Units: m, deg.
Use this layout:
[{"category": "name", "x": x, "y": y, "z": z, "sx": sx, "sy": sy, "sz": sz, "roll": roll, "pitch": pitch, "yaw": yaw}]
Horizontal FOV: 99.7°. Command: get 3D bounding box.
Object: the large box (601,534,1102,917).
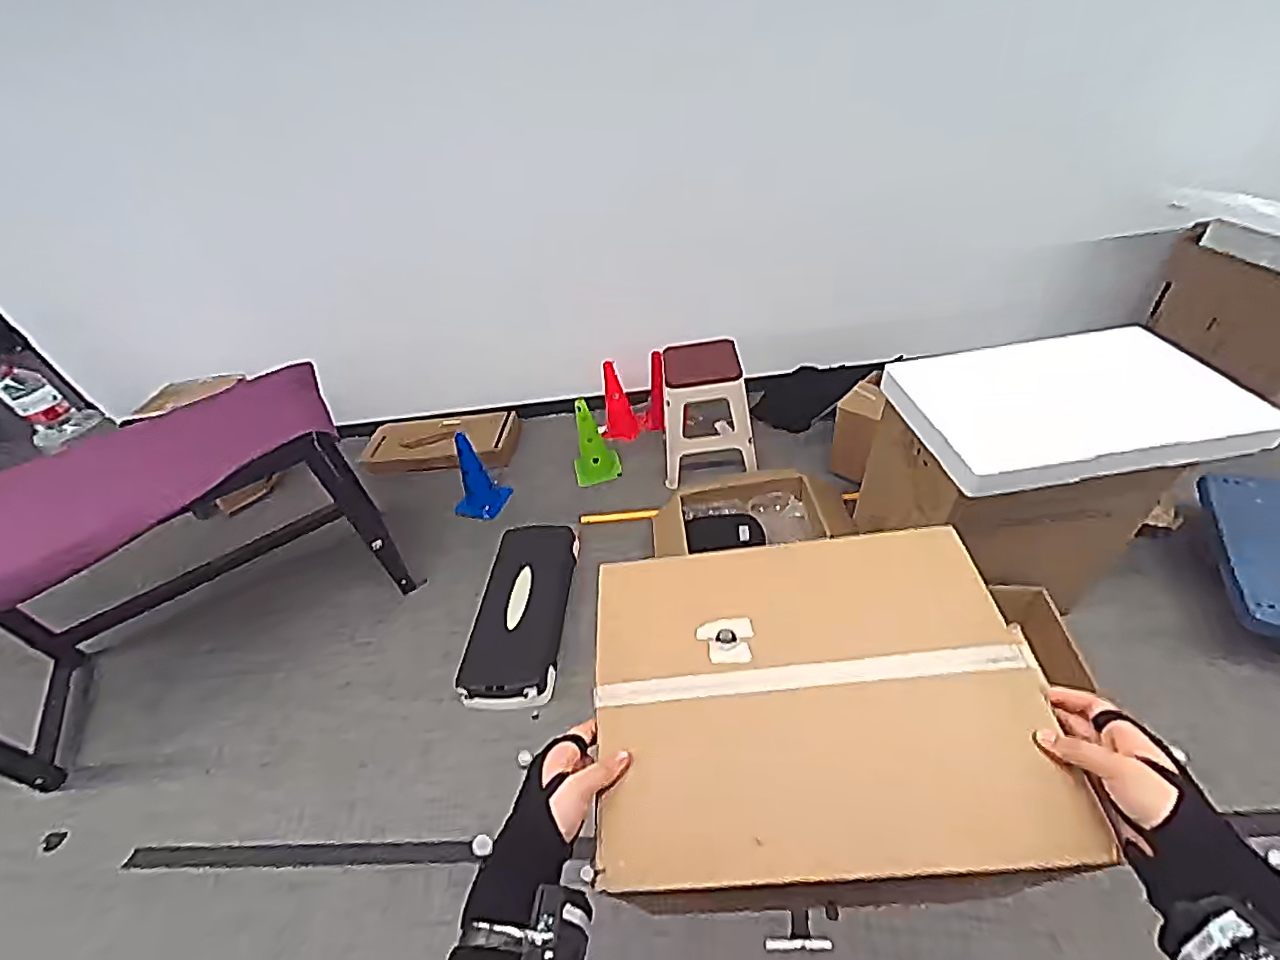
[{"category": "large box", "x": 0.184, "y": 0.300, "z": 0.641, "sx": 0.408, "sy": 0.320, "sz": 0.320, "roll": -8, "pitch": 46, "yaw": 6}]
